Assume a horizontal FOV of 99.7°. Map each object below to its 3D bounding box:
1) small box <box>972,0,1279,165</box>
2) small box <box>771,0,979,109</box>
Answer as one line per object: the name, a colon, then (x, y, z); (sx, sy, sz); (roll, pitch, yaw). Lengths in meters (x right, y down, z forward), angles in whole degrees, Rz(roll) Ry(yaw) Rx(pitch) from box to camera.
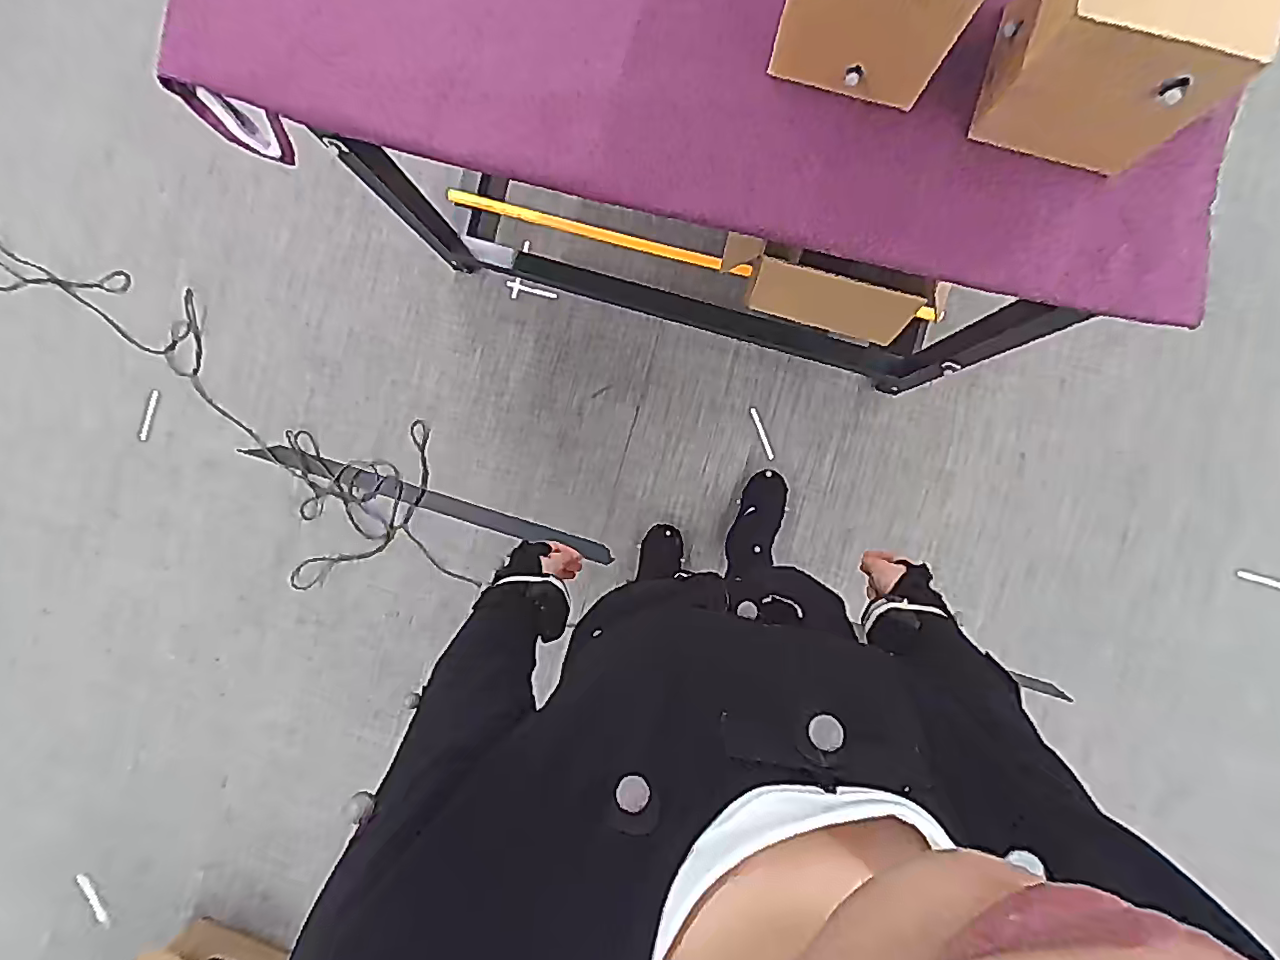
small box: (0.489, -0.460, 0.552); (0.179, 0.176, 0.168); (17, 89, 3)
small box: (0.258, -0.541, 0.563); (0.179, 0.176, 0.168); (17, 90, 3)
